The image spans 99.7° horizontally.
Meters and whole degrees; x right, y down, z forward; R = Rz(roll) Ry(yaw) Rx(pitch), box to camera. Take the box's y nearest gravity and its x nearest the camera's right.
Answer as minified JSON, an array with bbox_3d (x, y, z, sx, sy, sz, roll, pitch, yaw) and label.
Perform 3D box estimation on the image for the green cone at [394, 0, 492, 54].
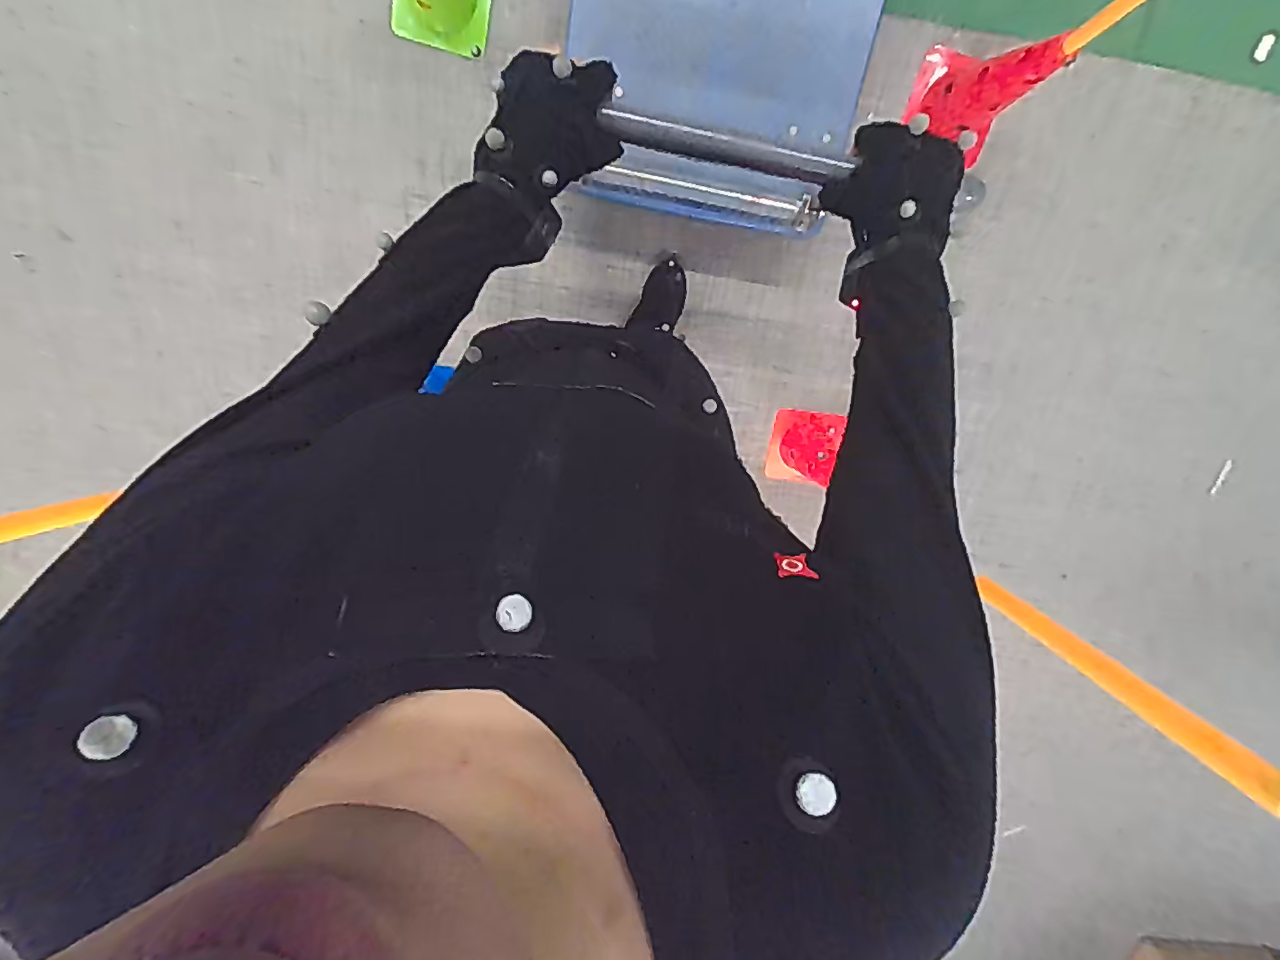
[{"bbox_3d":[-0.411,-0.976,0.974,0.202,0.368,0.200,13,109,-4],"label":"green cone"}]

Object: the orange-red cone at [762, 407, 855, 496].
[{"bbox_3d":[0.447,-0.039,1.332,0.199,0.360,0.198,8,109,-2],"label":"orange-red cone"}]
